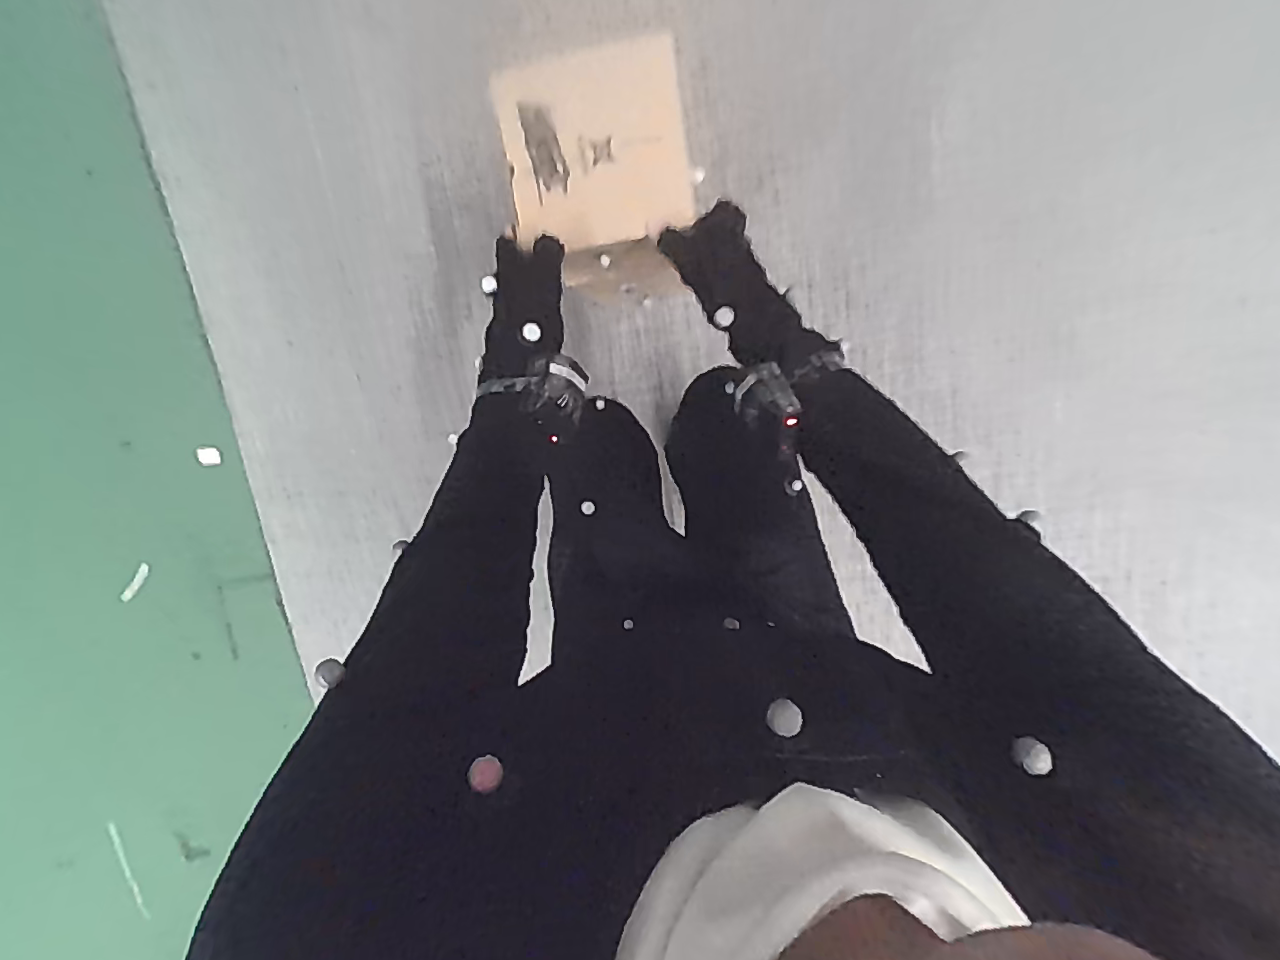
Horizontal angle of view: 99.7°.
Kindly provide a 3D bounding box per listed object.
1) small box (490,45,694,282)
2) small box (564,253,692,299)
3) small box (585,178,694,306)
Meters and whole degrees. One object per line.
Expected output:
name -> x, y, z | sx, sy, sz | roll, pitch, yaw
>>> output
small box -> -0.039, -0.324, 0.595 | 0.179, 0.176, 0.168 | -7, 102, 9
small box -> -0.018, -0.359, 0.754 | 0.168, 0.176, 0.179 | -5, 103, 9
small box -> -0.002, -0.392, 0.912 | 0.179, 0.176, 0.168 | -4, 102, 7
